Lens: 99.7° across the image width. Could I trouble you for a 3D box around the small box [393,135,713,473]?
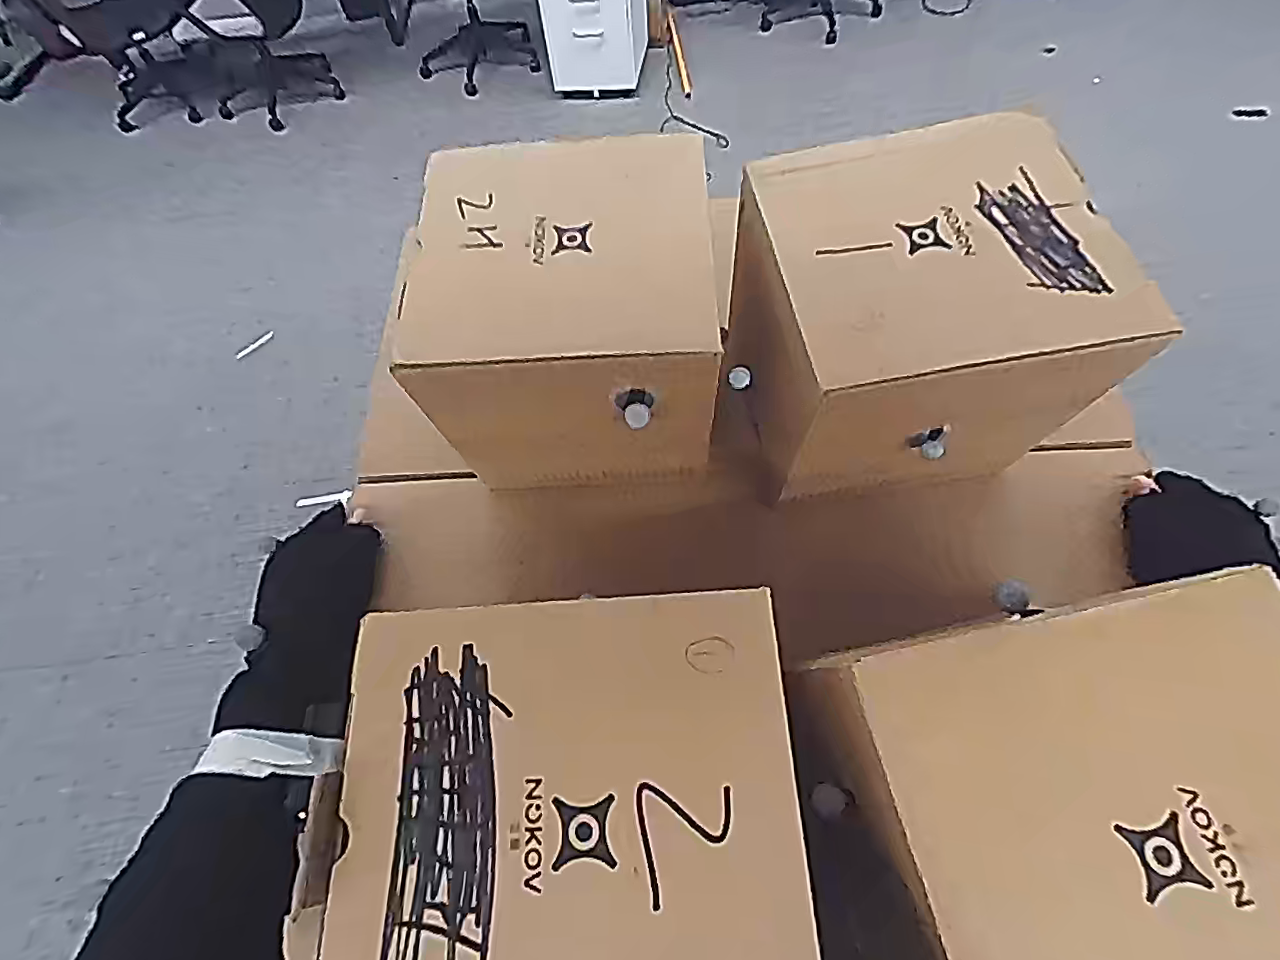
[{"bbox_3d":[-0.043,-0.112,0.393,0.179,0.176,0.168,-2,66,4],"label":"small box"}]
